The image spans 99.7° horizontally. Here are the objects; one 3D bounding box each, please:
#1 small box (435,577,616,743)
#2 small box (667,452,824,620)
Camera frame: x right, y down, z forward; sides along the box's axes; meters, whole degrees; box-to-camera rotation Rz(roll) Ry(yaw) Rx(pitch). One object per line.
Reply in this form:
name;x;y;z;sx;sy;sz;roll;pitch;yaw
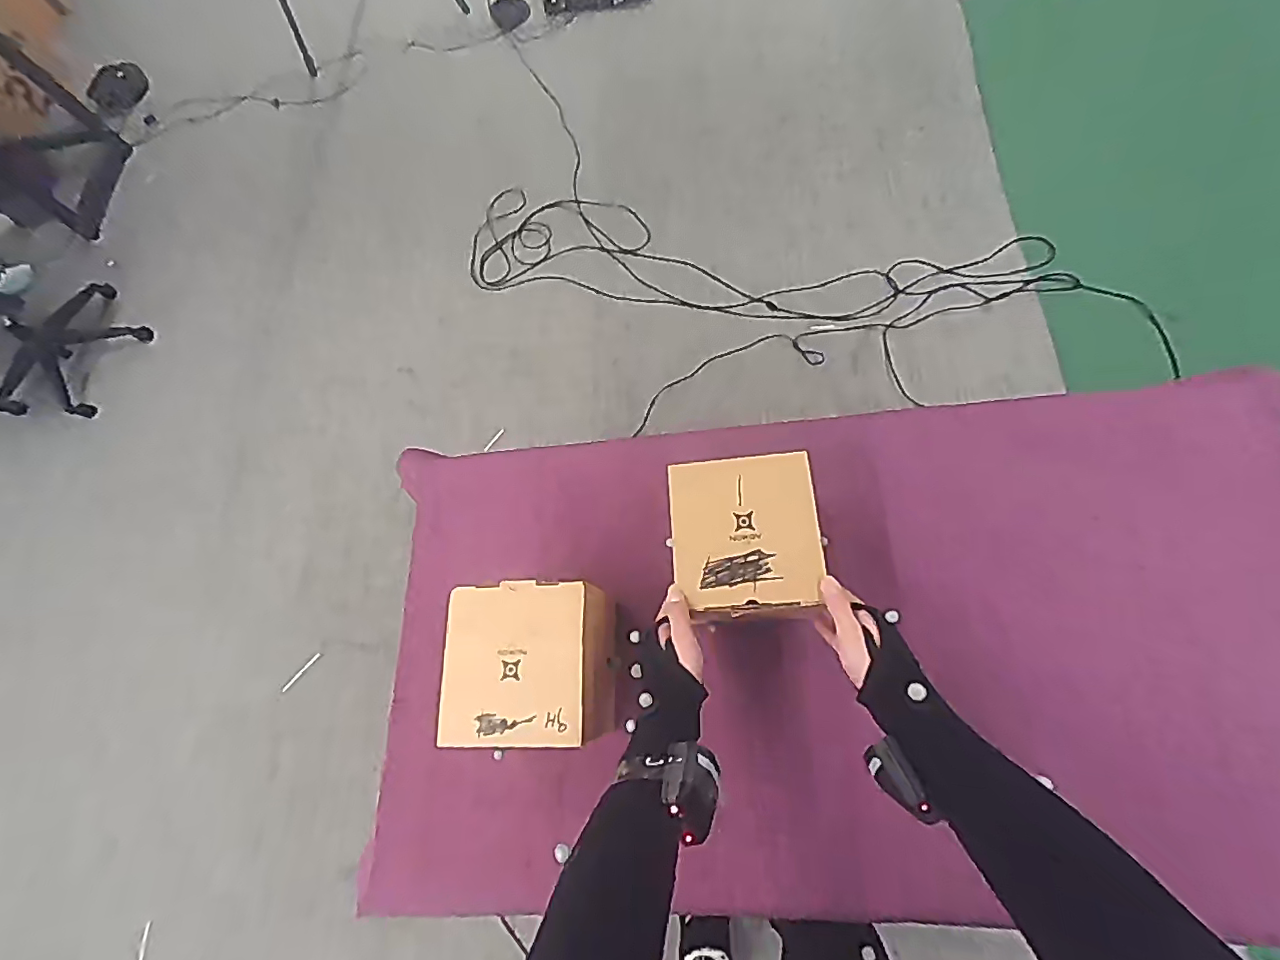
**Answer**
small box;-0.129;0.227;0.679;0.168;0.176;0.179;-4;69;11
small box;0.129;0.082;0.686;0.168;0.176;0.179;-5;68;9
